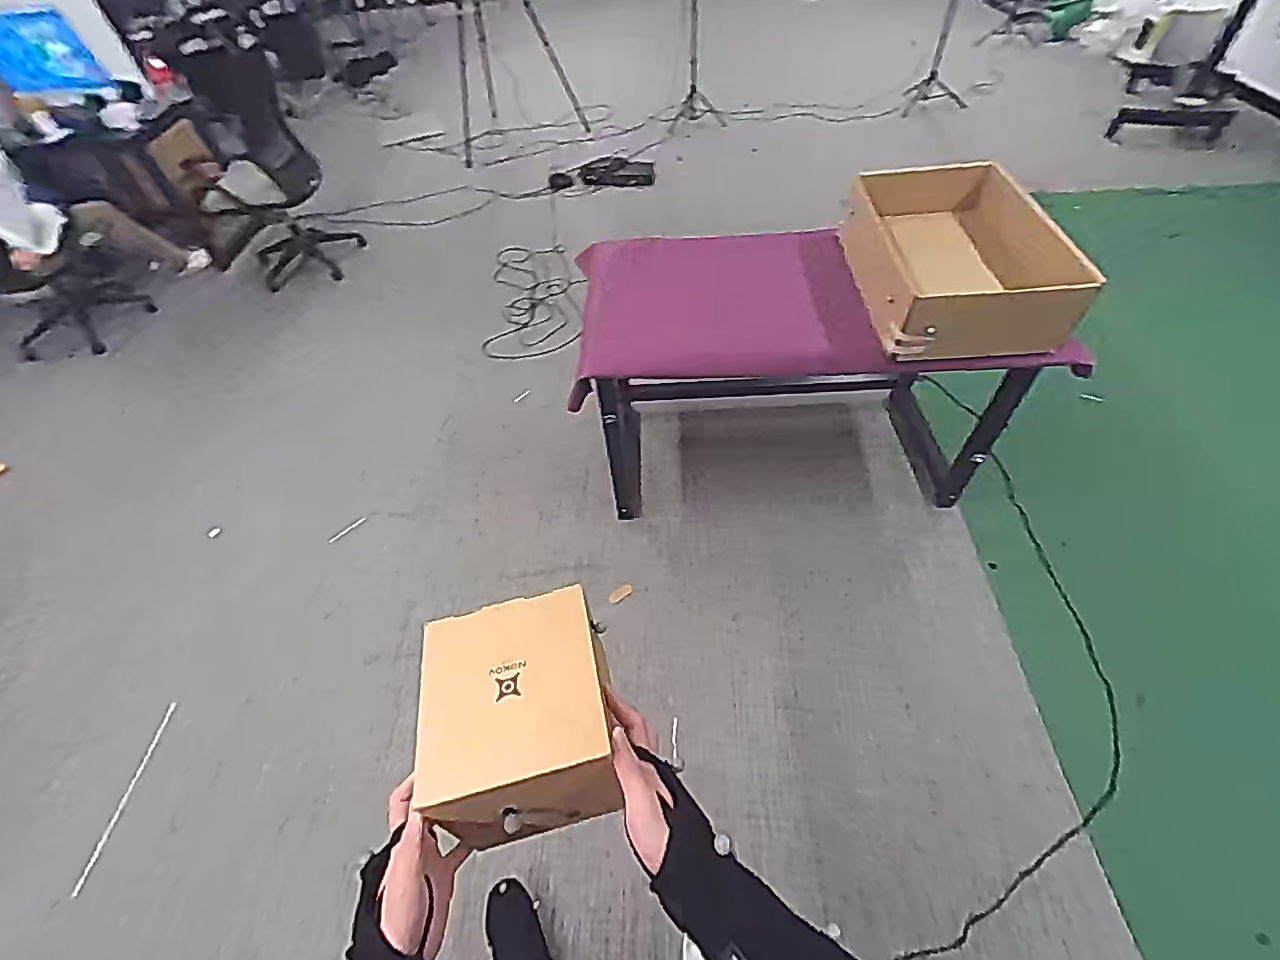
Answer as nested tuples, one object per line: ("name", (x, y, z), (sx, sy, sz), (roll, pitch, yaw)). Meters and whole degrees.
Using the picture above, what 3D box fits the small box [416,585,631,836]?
("small box", (-0.111, 0.241, 0.556), (0.168, 0.176, 0.179), (-13, 45, -4))
